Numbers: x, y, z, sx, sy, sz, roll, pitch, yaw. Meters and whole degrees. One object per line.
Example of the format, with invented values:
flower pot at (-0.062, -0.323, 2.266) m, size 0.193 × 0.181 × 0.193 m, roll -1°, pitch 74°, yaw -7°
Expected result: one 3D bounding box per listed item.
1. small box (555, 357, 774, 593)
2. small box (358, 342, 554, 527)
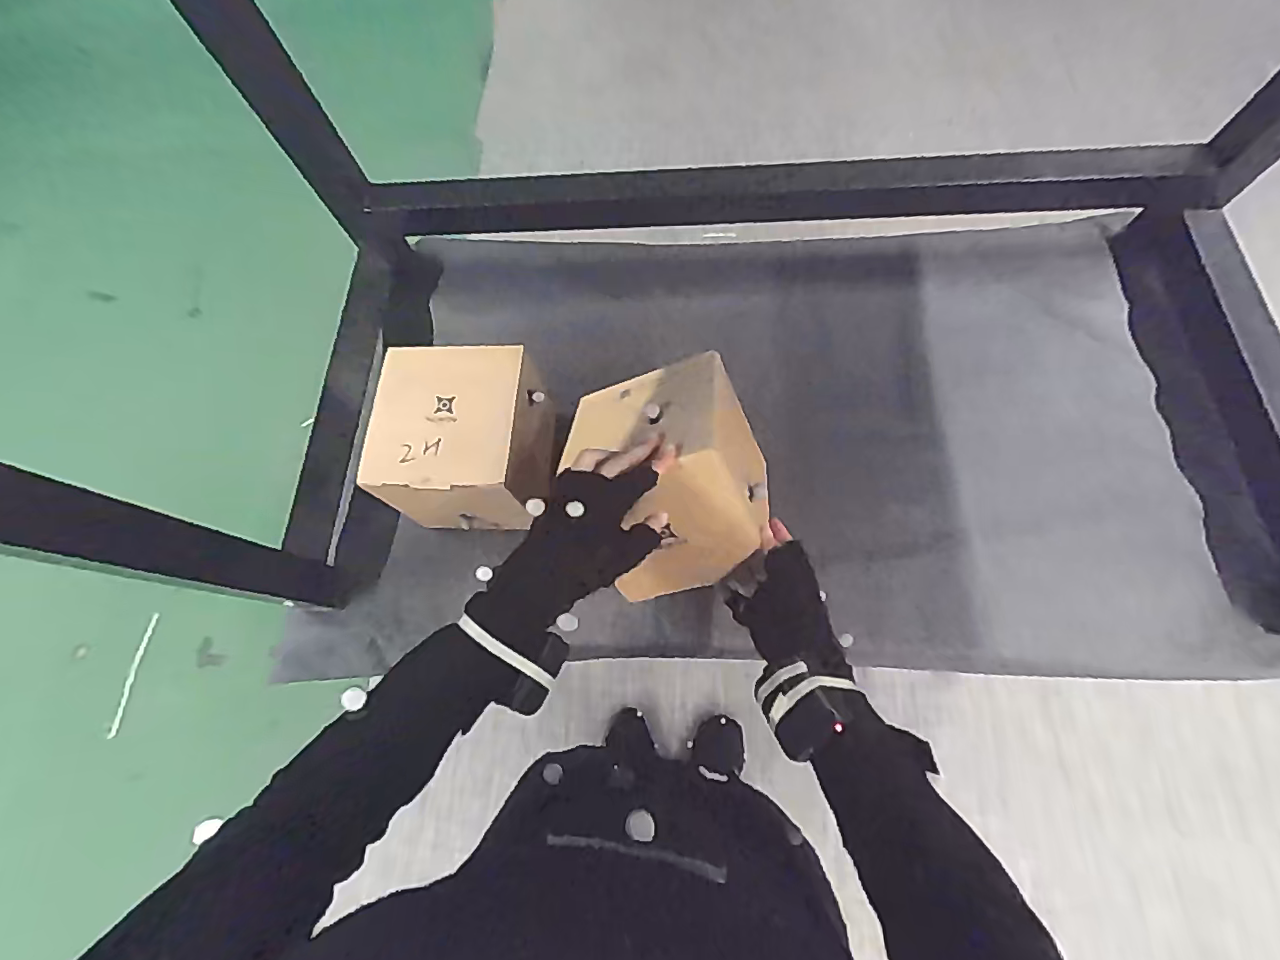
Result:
small box at (0.034, -0.009, 0.579) m, size 0.168 × 0.179 × 0.176 m, roll -16°, pitch 39°, yaw 21°
small box at (-0.210, -0.051, 0.674) m, size 0.168 × 0.176 × 0.179 m, roll 1°, pitch 69°, yaw 6°
